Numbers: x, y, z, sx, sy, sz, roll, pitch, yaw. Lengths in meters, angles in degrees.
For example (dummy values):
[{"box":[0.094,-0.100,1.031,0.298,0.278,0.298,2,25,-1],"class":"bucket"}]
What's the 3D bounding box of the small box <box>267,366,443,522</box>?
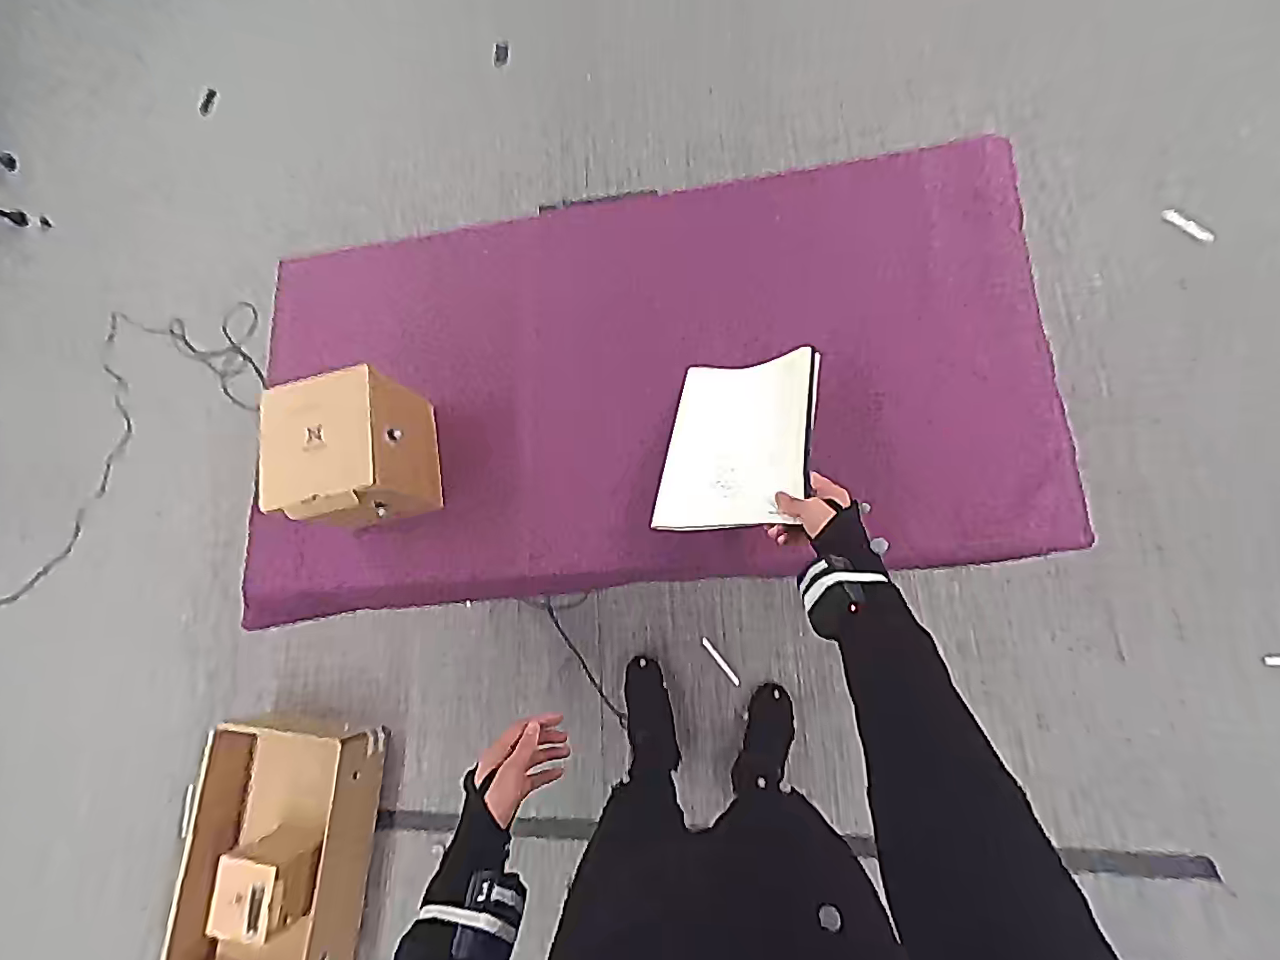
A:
[{"box":[-0.406,-0.040,0.792,0.168,0.176,0.179,-12,75,8],"class":"small box"}]
